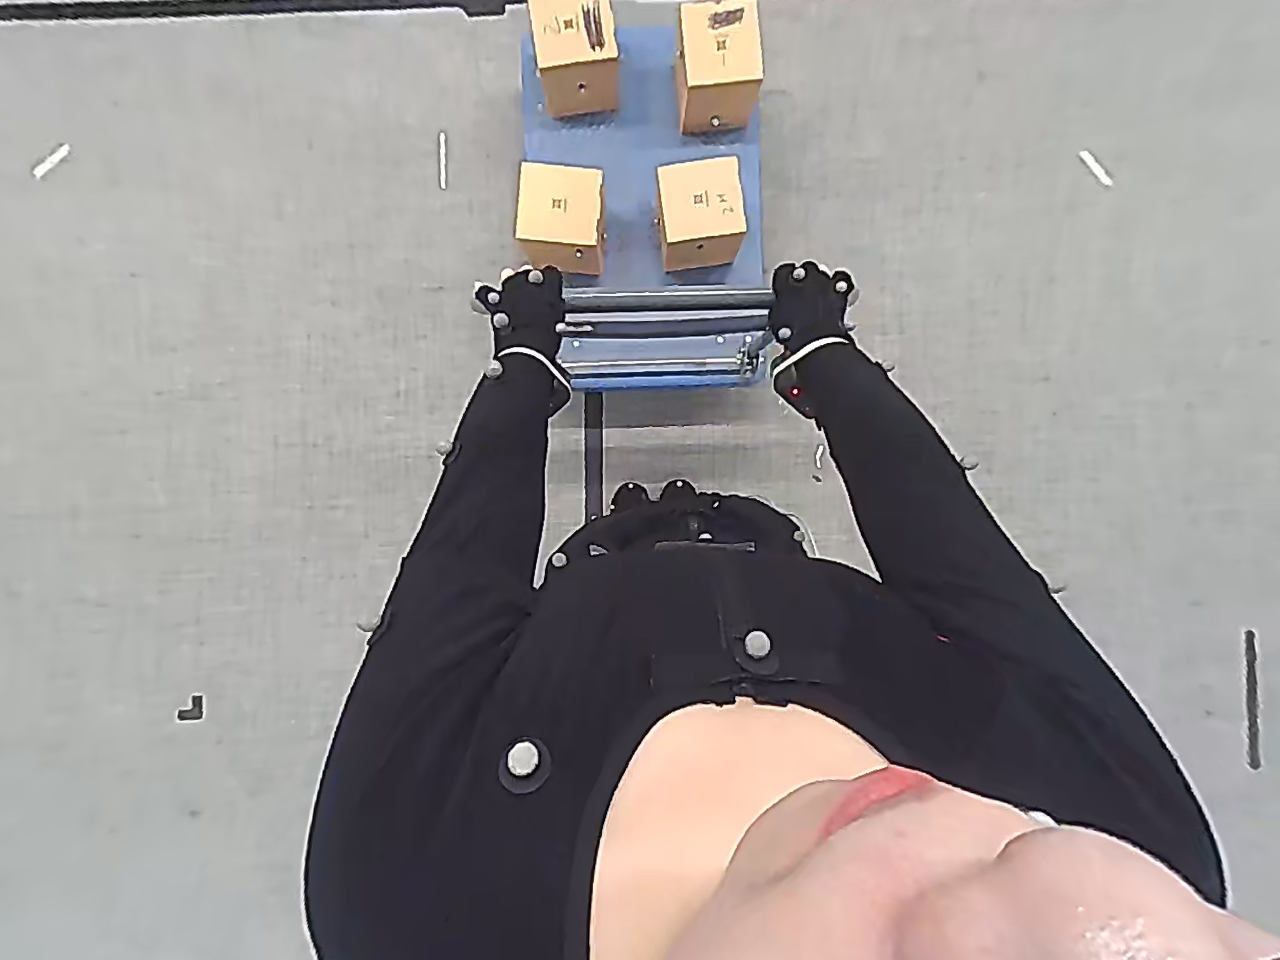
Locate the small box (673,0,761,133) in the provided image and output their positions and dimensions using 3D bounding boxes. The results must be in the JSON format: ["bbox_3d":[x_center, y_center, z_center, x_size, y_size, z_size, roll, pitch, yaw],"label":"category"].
[{"bbox_3d":[0.168,-0.928,1.224,0.168,0.176,0.179,-6,92,0],"label":"small box"}]

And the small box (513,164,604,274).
[{"bbox_3d":[-0.177,-0.583,1.227,0.179,0.176,0.168,4,91,-2],"label":"small box"}]

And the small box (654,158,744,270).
[{"bbox_3d":[0.127,-0.593,1.227,0.179,0.176,0.168,-8,91,0],"label":"small box"}]
